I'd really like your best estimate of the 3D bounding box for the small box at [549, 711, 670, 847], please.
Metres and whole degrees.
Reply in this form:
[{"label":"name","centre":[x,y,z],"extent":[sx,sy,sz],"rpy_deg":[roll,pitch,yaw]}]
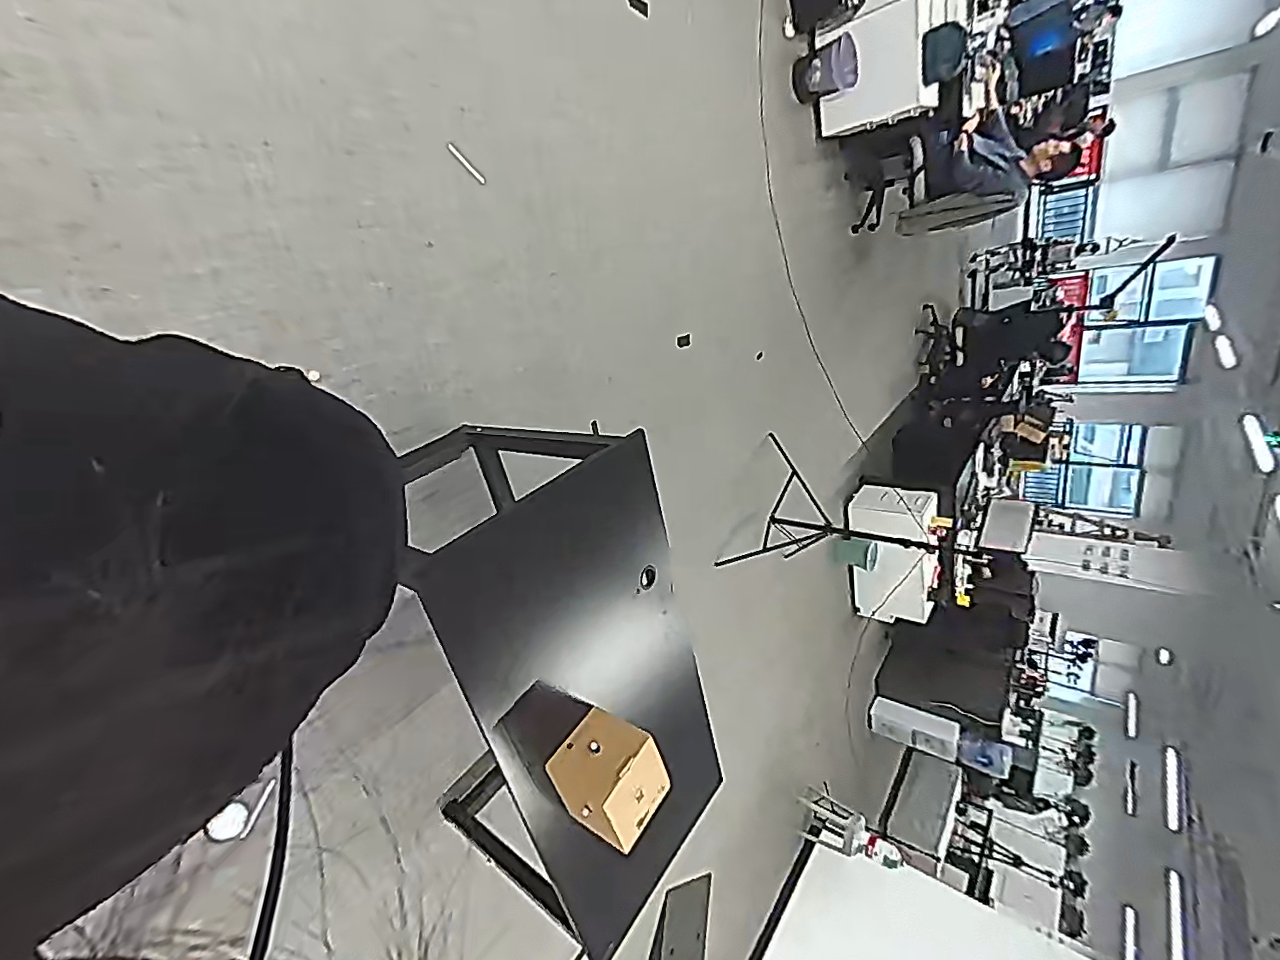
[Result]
[{"label":"small box","centre":[-0.065,0.622,1.152],"extent":[0.168,0.176,0.179],"rpy_deg":[-41,124,-39]}]
